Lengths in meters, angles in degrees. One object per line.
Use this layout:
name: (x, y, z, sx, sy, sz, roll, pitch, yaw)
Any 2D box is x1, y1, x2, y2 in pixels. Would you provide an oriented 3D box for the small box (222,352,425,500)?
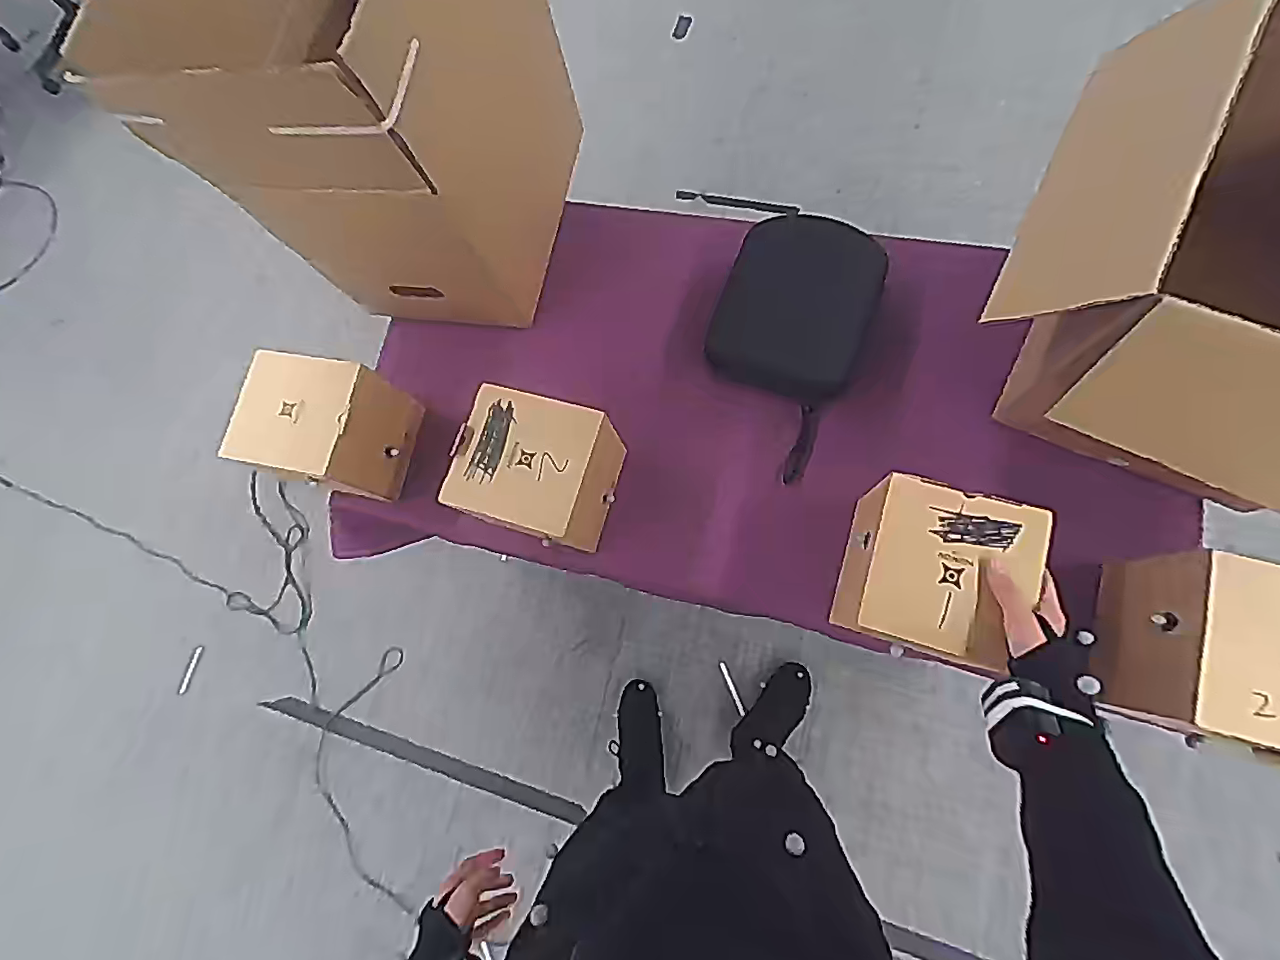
small box: (-0.466, -0.074, 0.822, 0.179, 0.176, 0.168, 10, 78, 10)

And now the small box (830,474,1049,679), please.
small box: (0.338, 0.113, 0.643, 0.168, 0.176, 0.179, 16, 80, 13)

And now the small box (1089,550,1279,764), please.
small box: (0.625, 0.190, 0.574, 0.168, 0.176, 0.179, 16, 79, 13)
